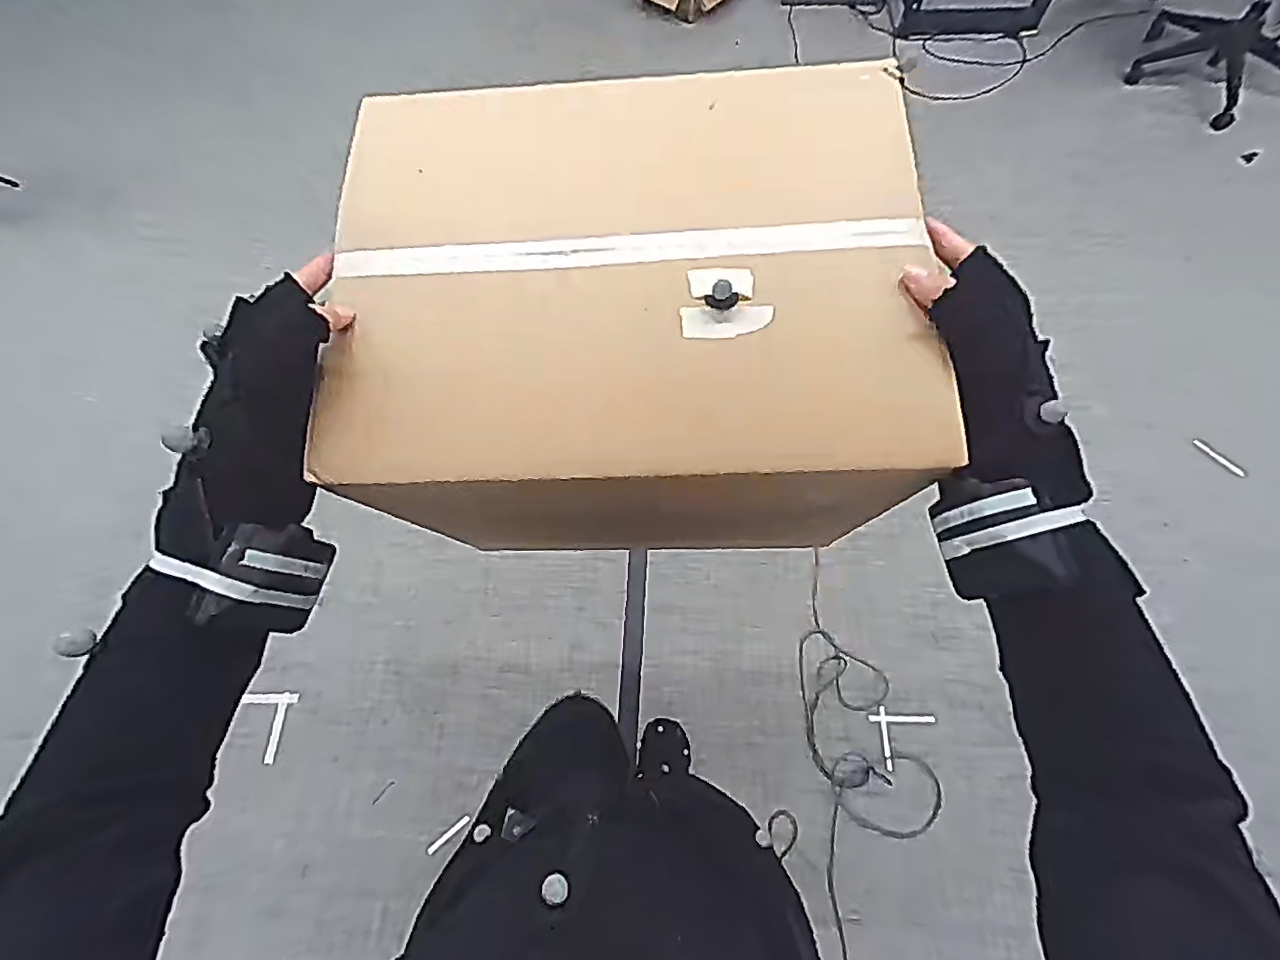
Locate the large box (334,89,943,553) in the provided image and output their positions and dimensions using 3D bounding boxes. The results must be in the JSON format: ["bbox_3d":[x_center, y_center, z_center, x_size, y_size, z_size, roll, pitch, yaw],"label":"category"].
[{"bbox_3d":[-0.002,-0.110,0.532,0.408,0.320,0.320,-2,74,4],"label":"large box"}]
